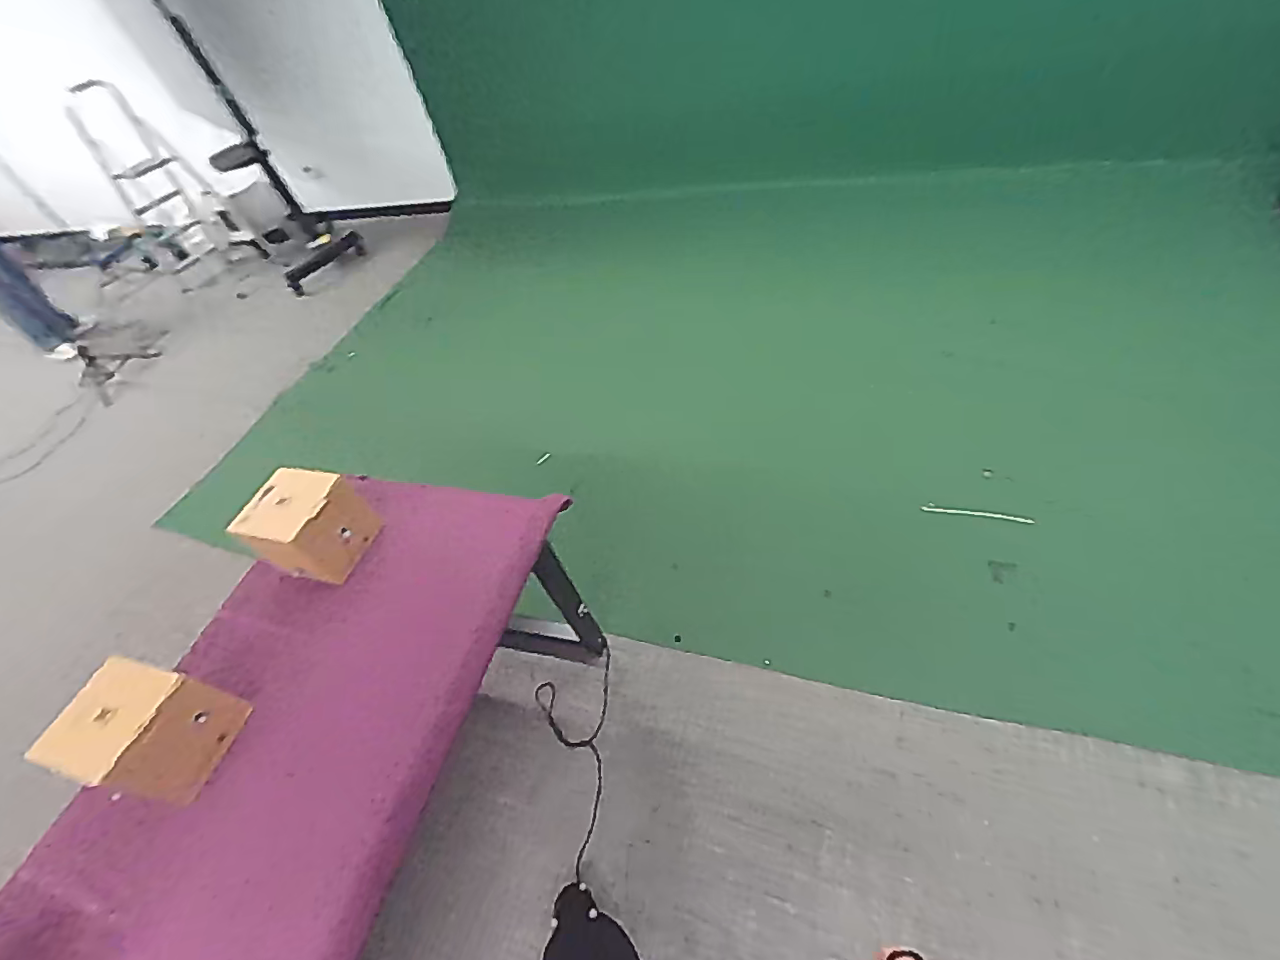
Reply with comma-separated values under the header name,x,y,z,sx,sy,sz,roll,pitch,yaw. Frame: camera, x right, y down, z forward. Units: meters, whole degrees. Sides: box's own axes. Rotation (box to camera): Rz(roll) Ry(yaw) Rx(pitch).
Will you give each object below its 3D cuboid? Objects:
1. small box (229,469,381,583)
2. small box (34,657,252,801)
name,x,y,z,sx,sy,sz,roll,pitch,yaw
small box,-0.694,0.100,1.145,0.179,0.176,0.168,7,53,19
small box,-0.817,0.422,0.911,0.179,0.176,0.168,5,52,18
